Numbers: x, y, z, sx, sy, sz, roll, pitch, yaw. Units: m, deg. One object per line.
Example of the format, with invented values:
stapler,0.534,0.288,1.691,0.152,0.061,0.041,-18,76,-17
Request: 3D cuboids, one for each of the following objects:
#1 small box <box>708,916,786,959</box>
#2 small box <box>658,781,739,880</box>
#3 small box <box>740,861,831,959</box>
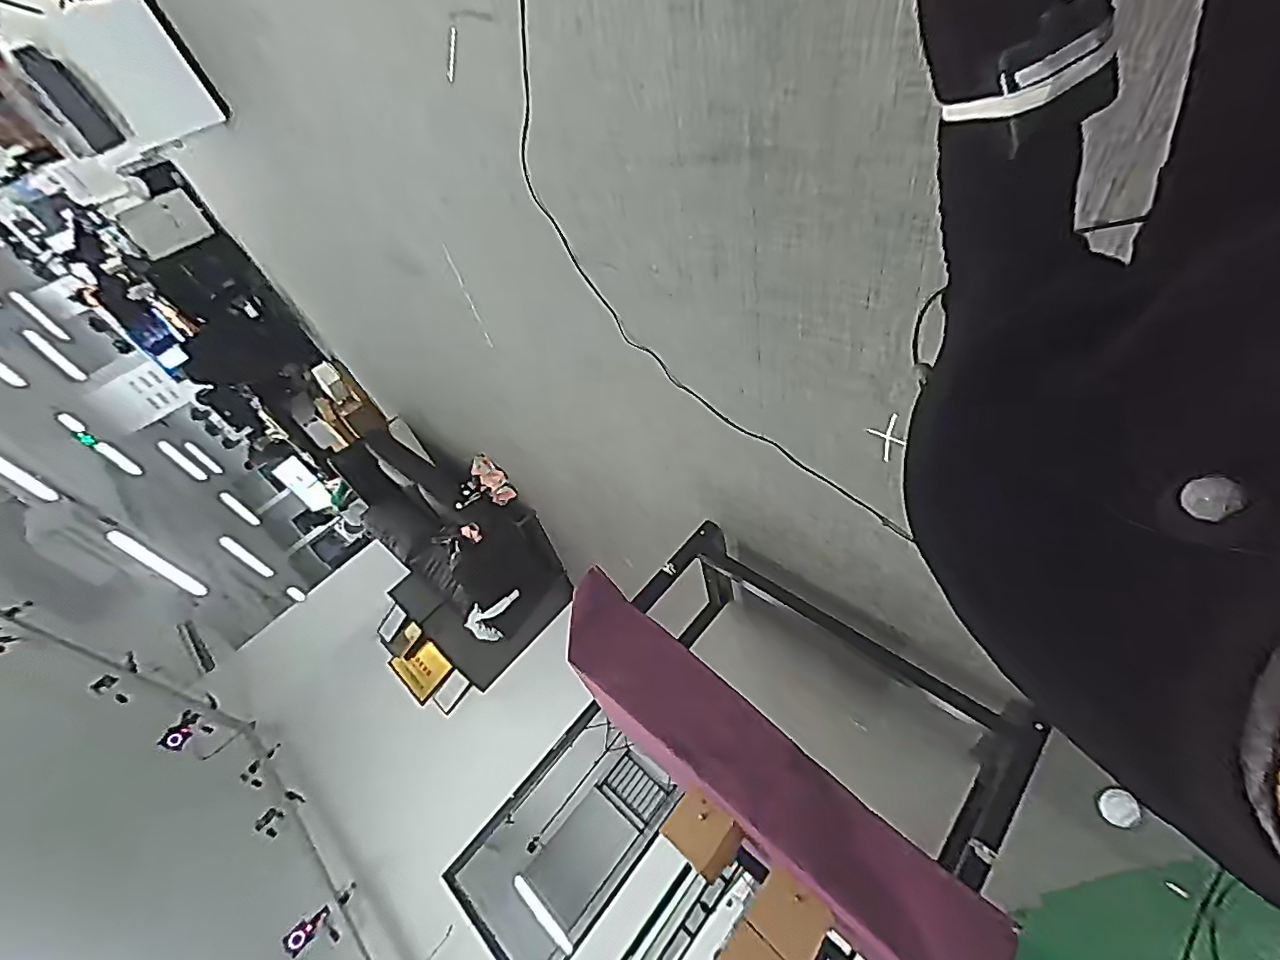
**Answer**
small box,0.289,1.289,1.418,0.179,0.176,0.168,27,150,35
small box,0.186,1.069,1.658,0.168,0.176,0.179,24,148,40
small box,0.399,1.185,1.483,0.179,0.176,0.168,28,151,36
